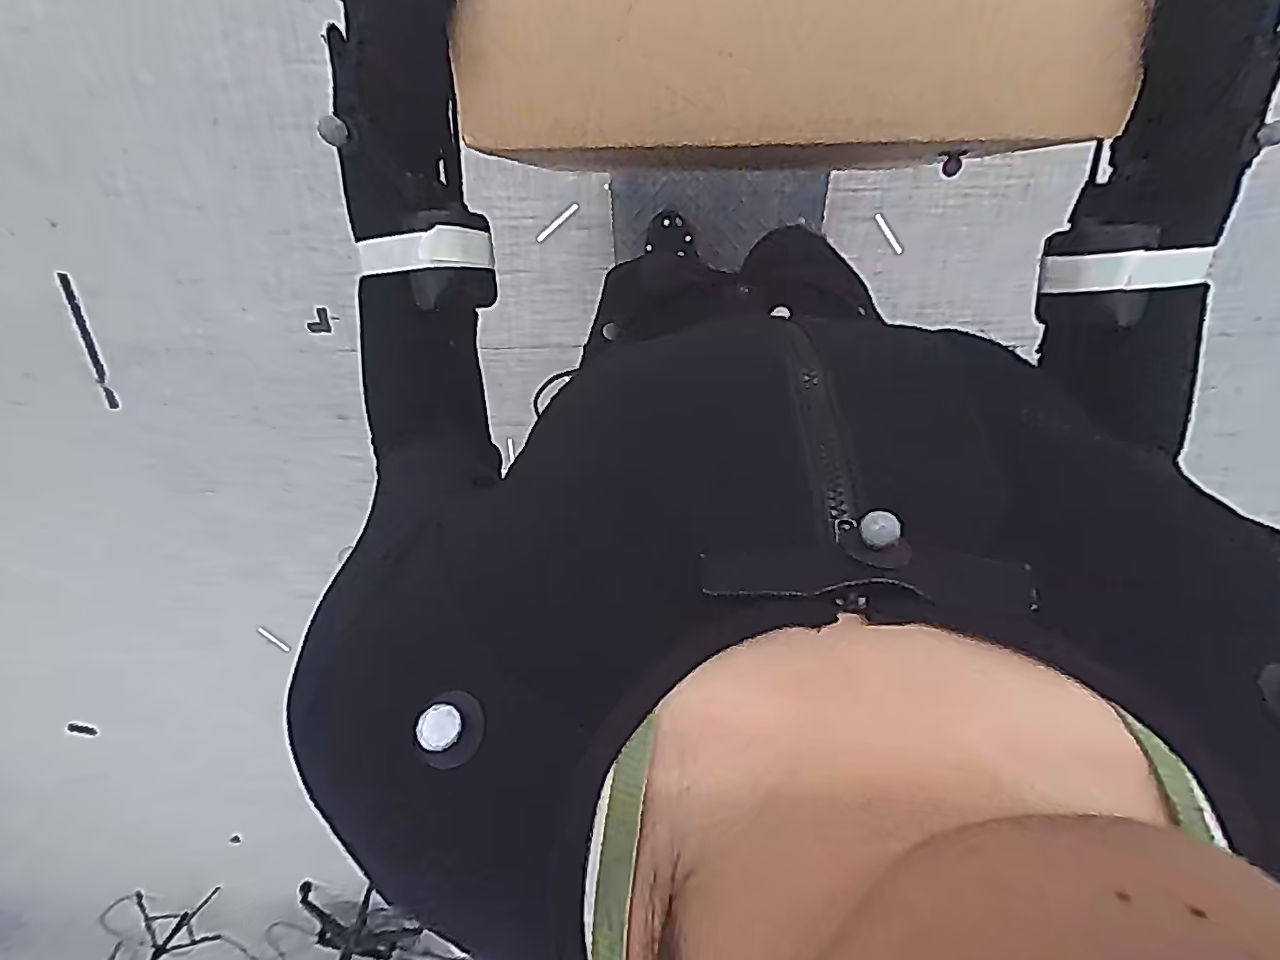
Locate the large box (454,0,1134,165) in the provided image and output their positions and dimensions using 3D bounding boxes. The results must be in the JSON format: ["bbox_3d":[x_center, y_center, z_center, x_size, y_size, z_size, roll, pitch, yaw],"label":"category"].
[{"bbox_3d":[0.091,-0.422,0.406,0.408,0.320,0.320,0,117,1],"label":"large box"}]
